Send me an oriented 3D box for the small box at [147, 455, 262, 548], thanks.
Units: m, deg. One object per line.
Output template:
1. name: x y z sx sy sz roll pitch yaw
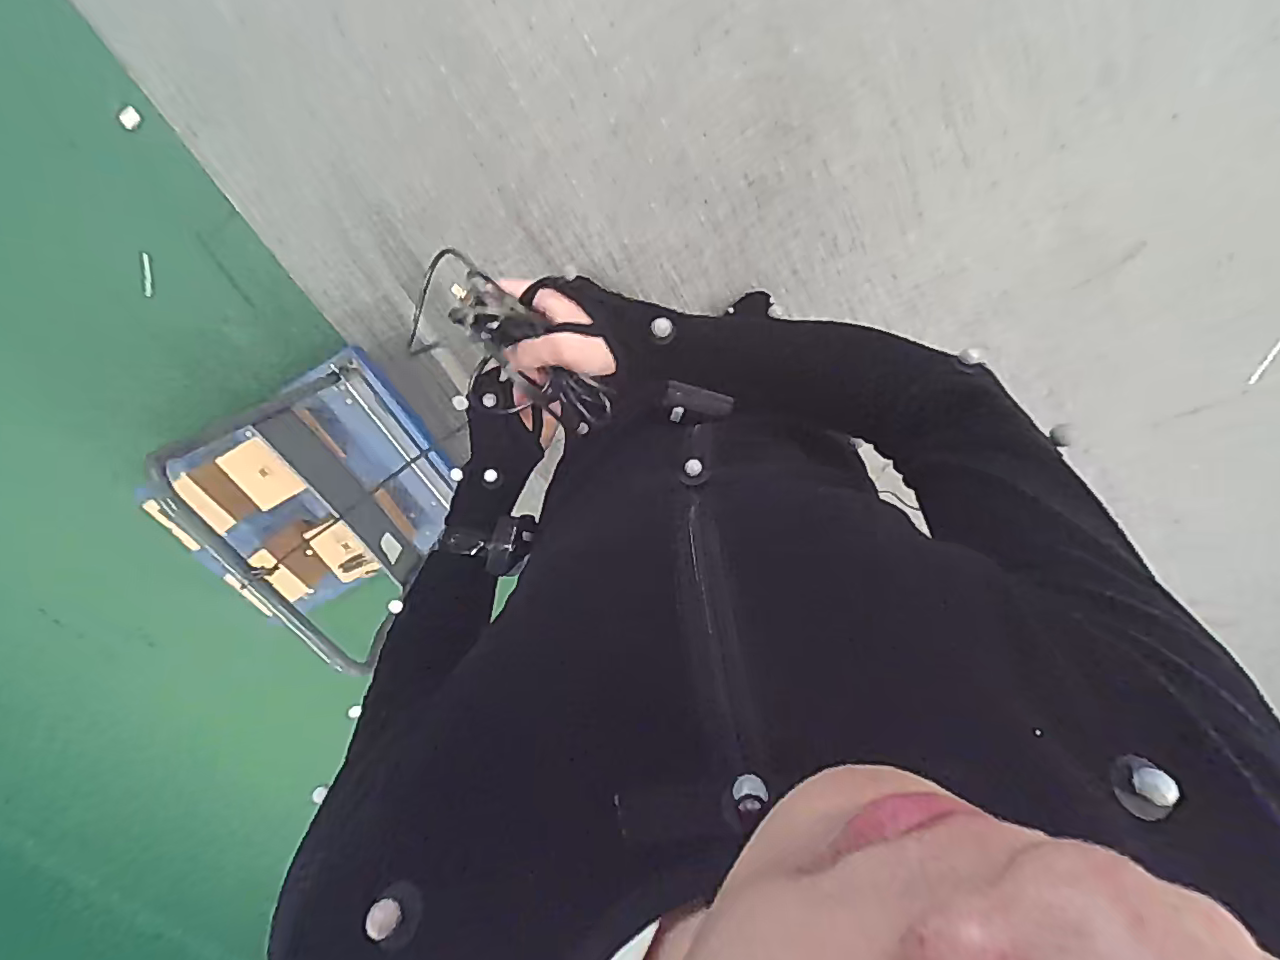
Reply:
1. small box: -1.153 0.047 1.469 0.179 0.176 0.168 -29 112 14

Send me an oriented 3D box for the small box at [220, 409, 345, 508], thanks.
1. small box: -0.922 -0.061 1.411 0.179 0.176 0.168 -26 112 13

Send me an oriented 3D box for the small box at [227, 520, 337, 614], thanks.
1. small box: -1.018 0.245 1.562 0.179 0.176 0.168 -30 111 15
